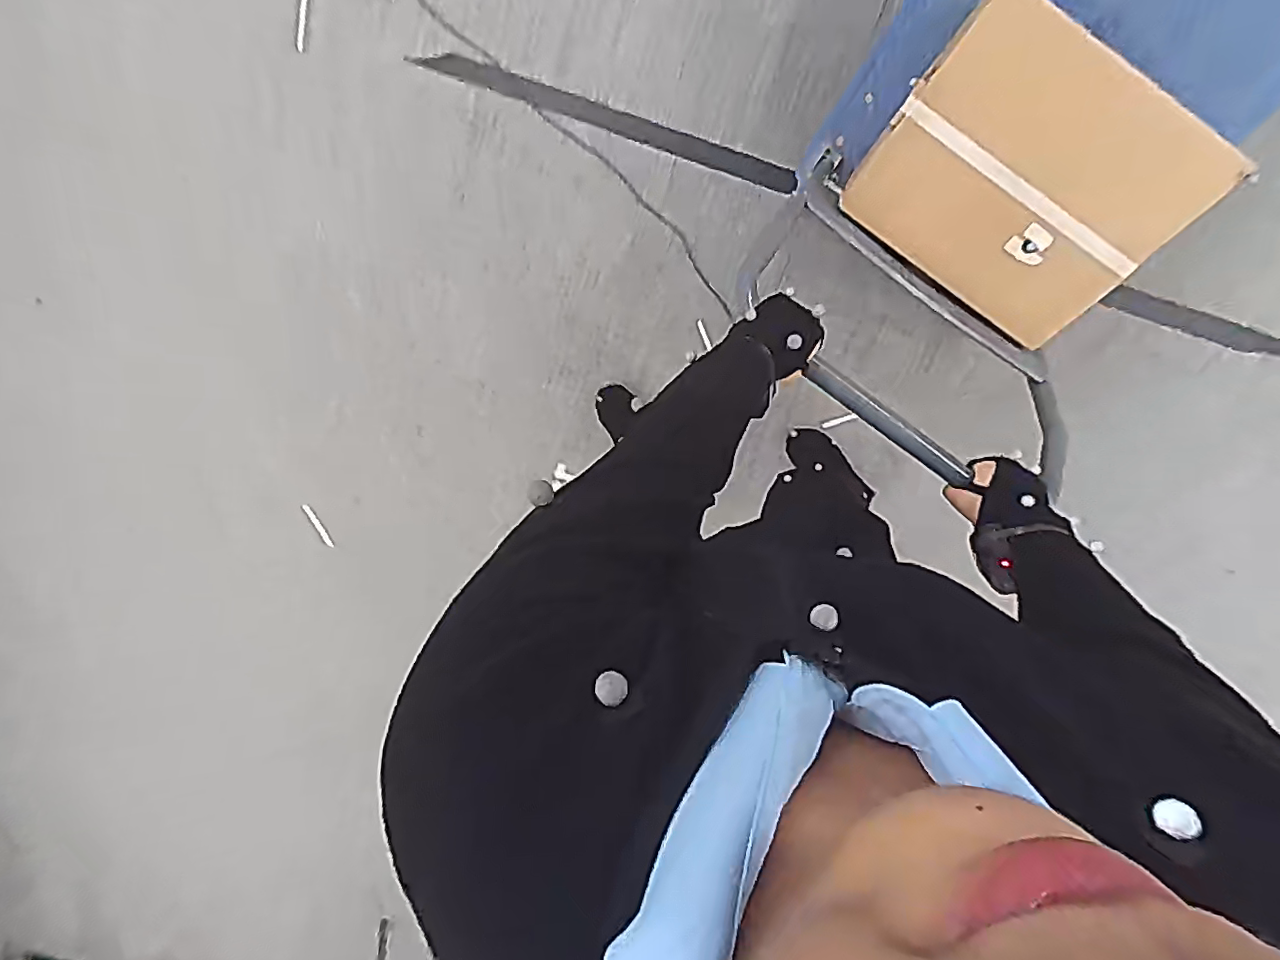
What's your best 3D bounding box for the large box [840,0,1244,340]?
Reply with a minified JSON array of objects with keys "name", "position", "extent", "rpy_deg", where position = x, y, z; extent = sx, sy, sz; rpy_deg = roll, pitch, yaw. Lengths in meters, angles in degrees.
[{"name":"large box","position":[0.603,-0.515,0.902],"extent":[0.408,0.320,0.320],"rpy_deg":[35,132,-3]}]
